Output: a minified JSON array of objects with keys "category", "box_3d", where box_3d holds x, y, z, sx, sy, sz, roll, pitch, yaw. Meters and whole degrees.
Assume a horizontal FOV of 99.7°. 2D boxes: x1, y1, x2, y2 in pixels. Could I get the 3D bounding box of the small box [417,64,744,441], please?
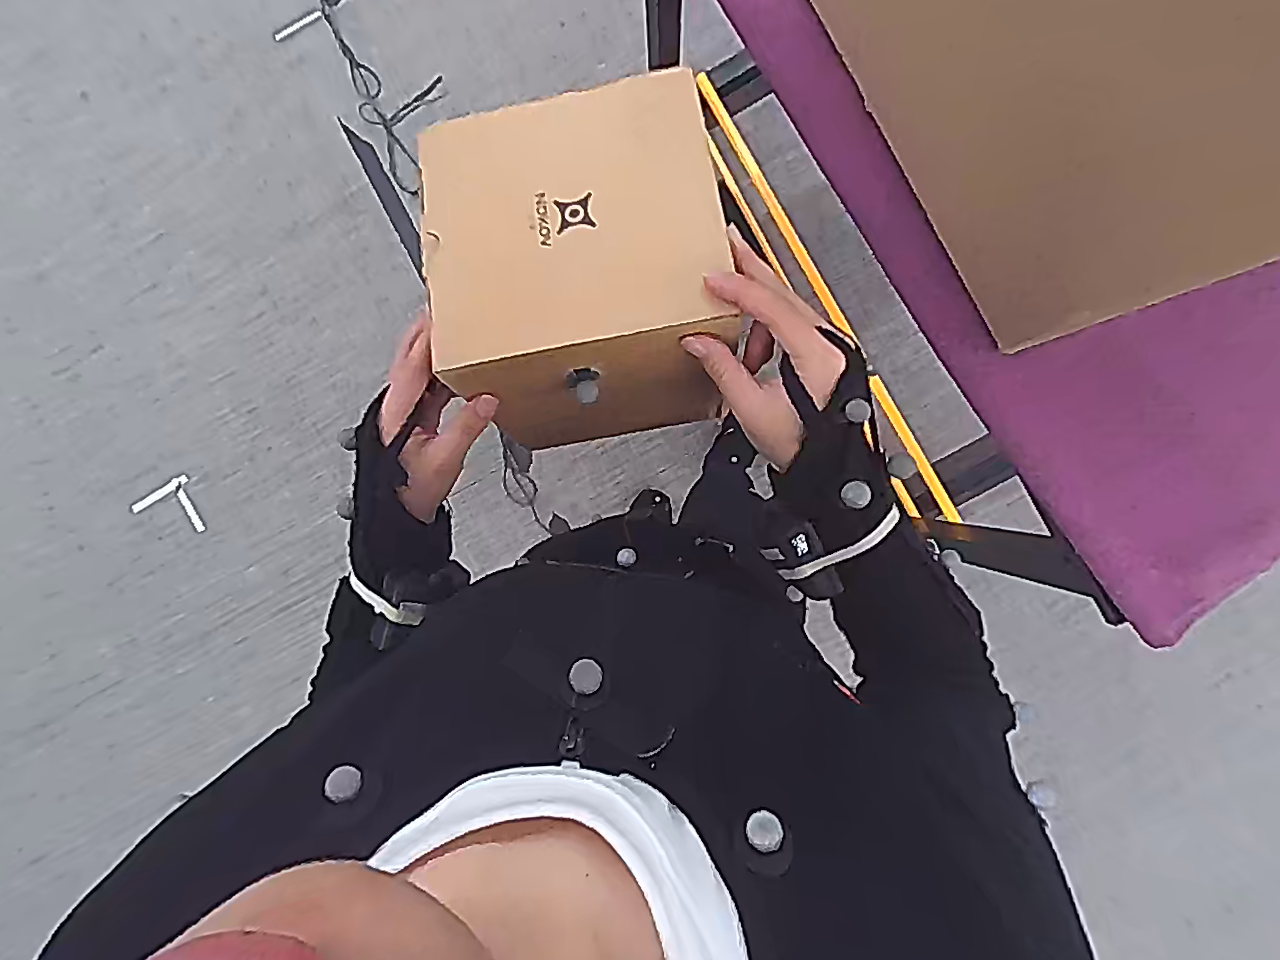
[{"category":"small box","box_3d":[-0.032,-0.137,0.386,0.179,0.176,0.168,-10,78,5]}]
